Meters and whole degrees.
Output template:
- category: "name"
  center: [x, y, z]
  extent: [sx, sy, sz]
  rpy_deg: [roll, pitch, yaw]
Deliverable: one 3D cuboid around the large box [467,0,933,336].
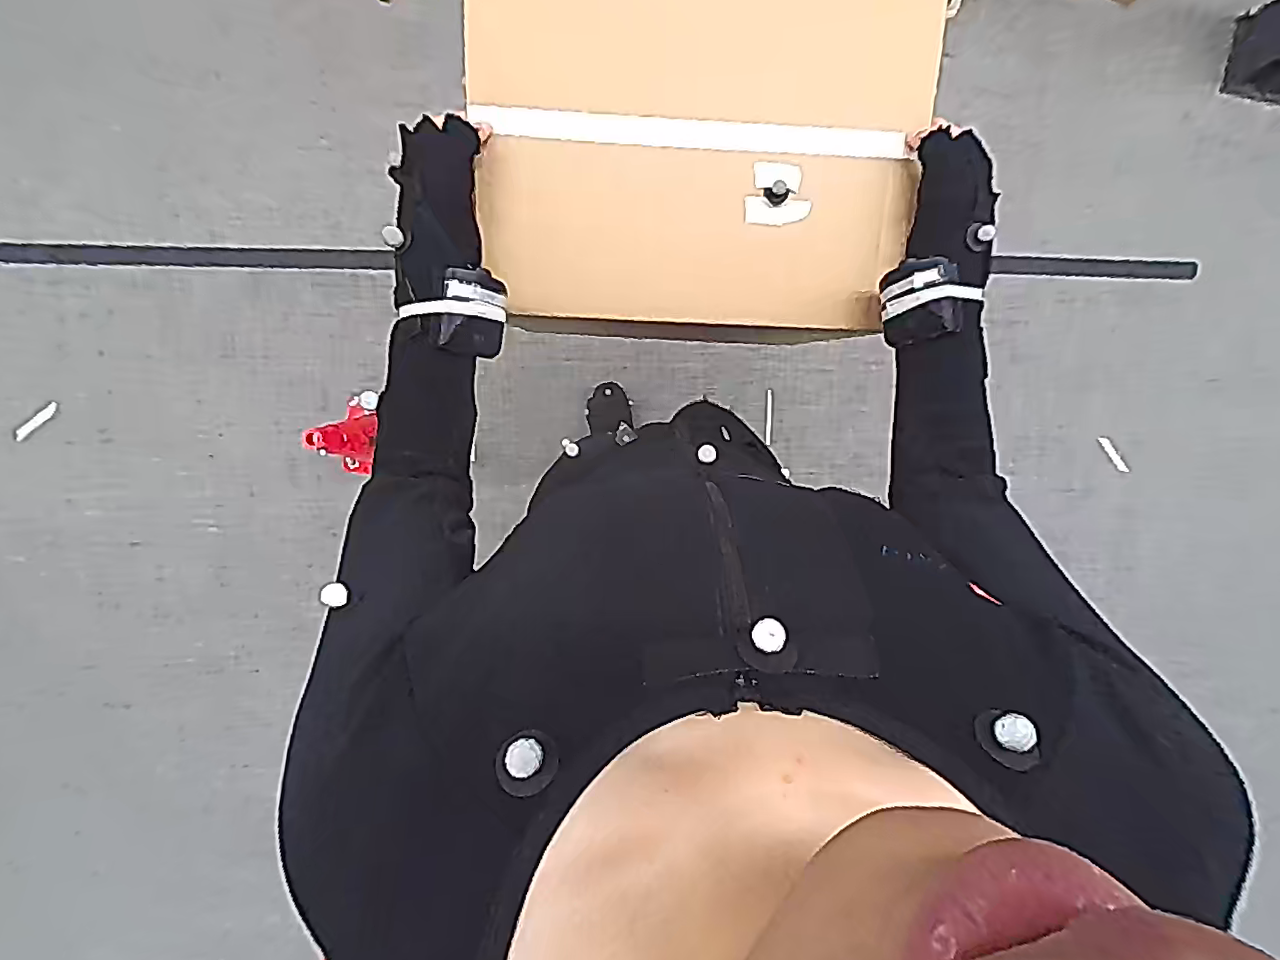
- category: "large box"
  center: [0.042, -0.338, 0.620]
  extent: [0.408, 0.320, 0.320]
  rpy_deg: [2, 102, -4]
